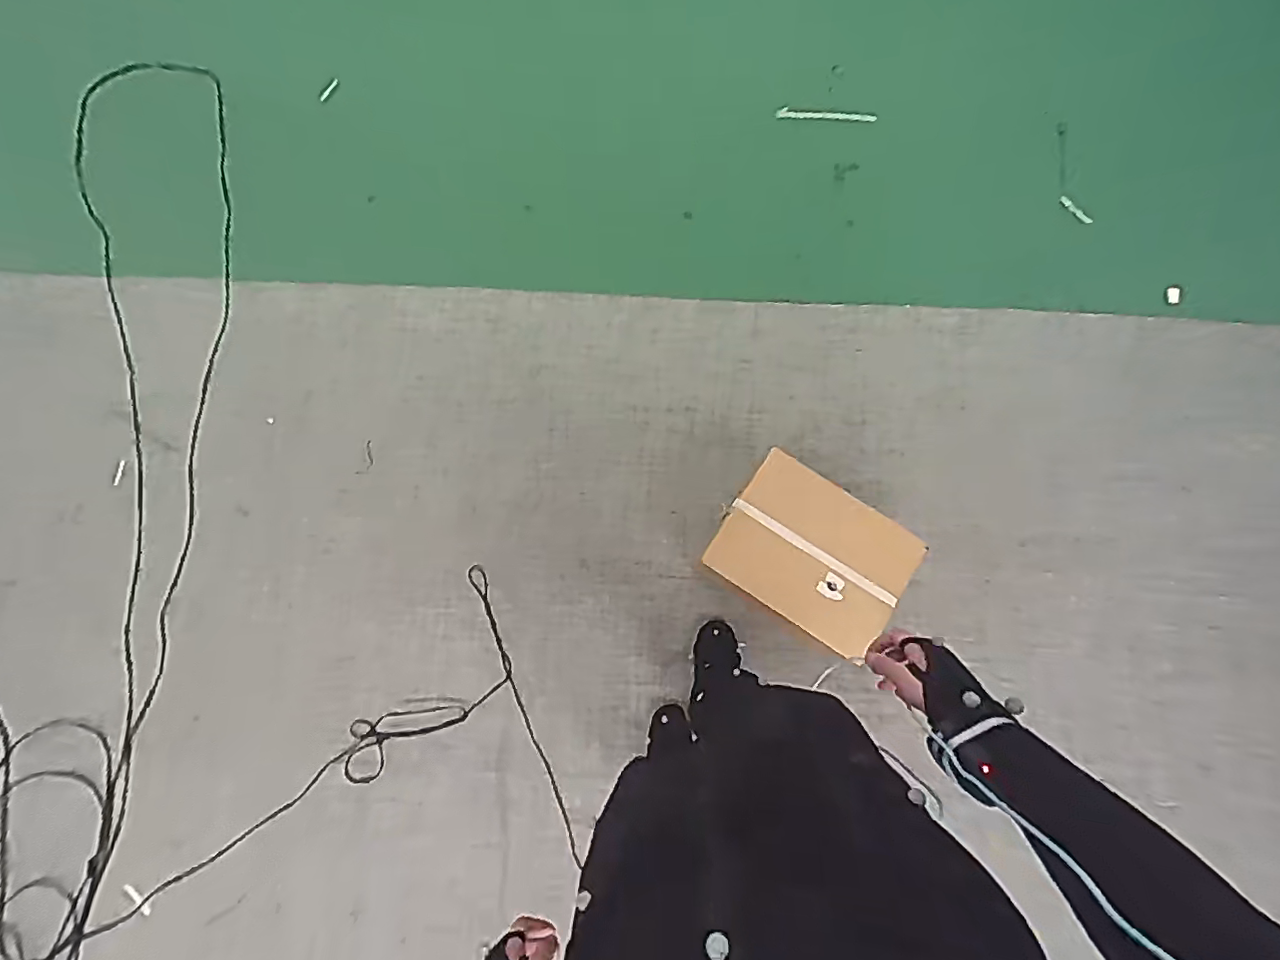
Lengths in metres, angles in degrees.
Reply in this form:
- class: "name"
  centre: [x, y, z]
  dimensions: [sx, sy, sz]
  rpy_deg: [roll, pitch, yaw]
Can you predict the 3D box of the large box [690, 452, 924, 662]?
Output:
- class: "large box"
  centre: [0.381, 0.191, 1.336]
  dimensions: [0.408, 0.320, 0.320]
  rpy_deg: [33, 81, 6]
